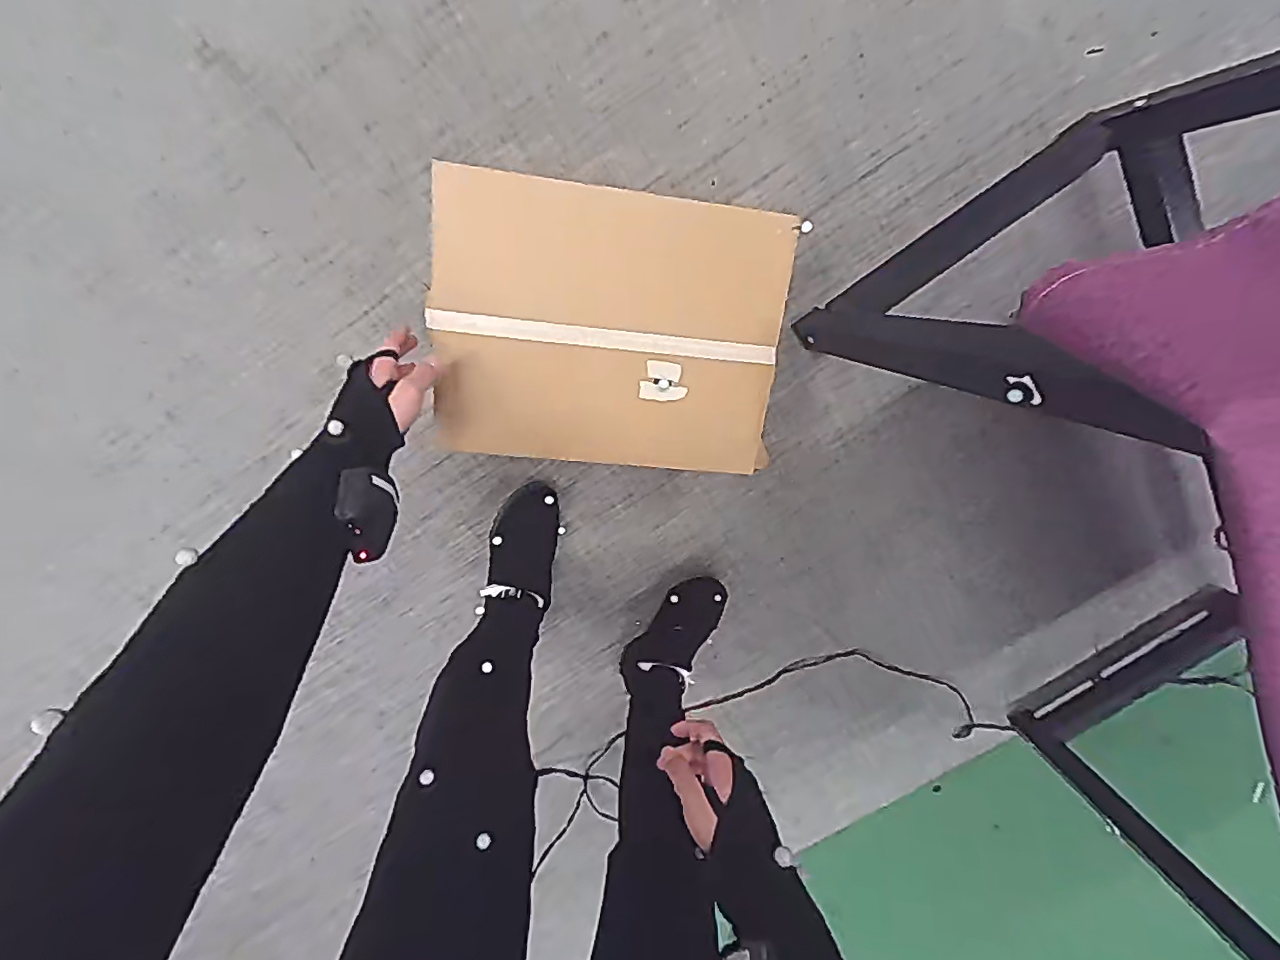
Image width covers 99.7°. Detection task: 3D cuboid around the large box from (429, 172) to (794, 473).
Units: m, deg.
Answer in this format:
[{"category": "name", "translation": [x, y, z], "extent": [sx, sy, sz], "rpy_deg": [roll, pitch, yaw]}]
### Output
[{"category": "large box", "translation": [-0.054, -0.208, 0.765], "extent": [0.408, 0.320, 0.320], "rpy_deg": [3, 109, -9]}]
